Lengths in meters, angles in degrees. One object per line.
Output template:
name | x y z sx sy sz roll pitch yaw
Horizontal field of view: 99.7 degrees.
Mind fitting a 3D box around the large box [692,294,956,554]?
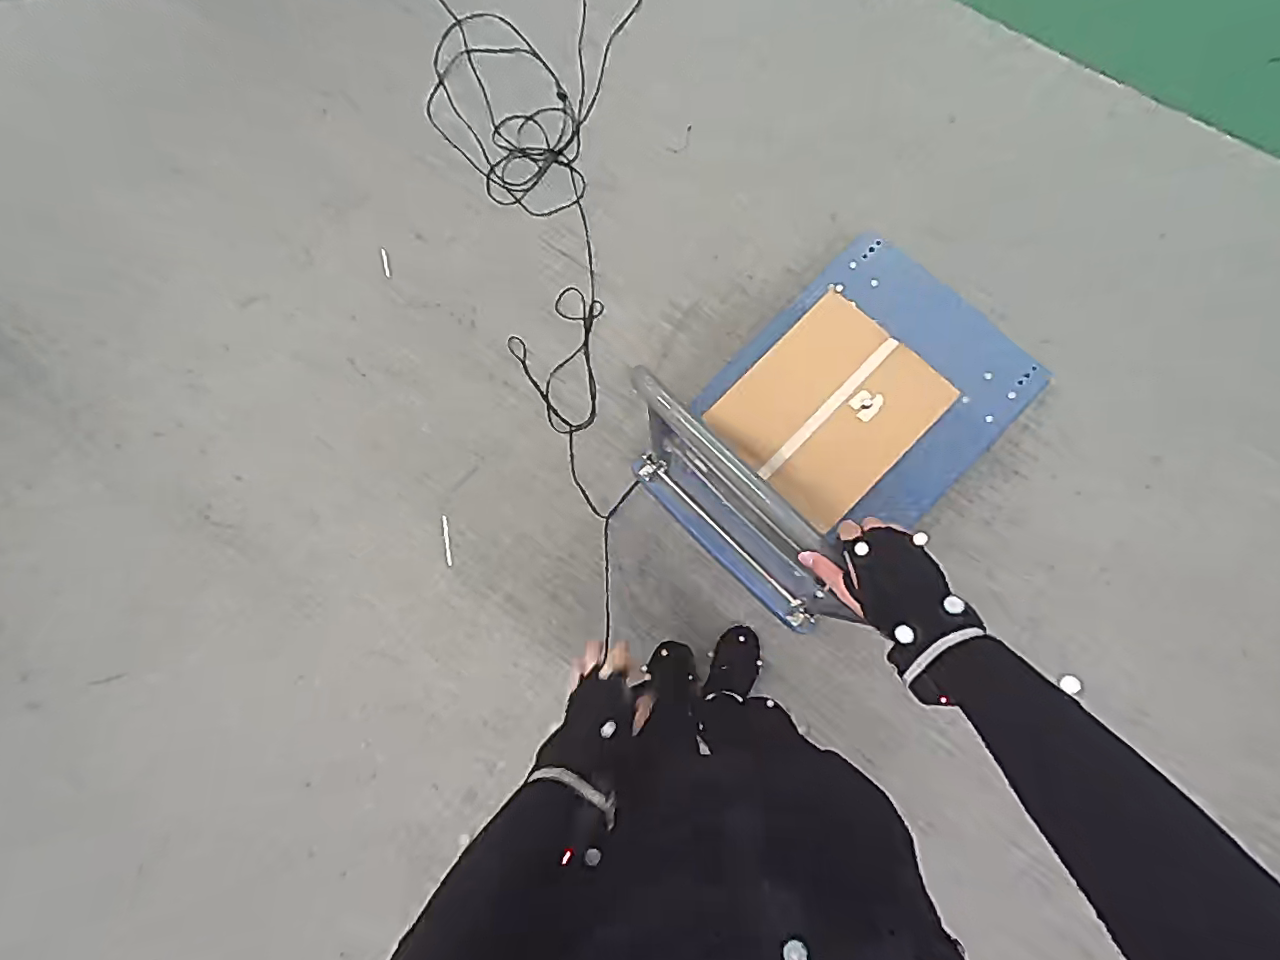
large box | 0.355 -0.093 1.158 0.408 0.320 0.320 -45 80 -4
